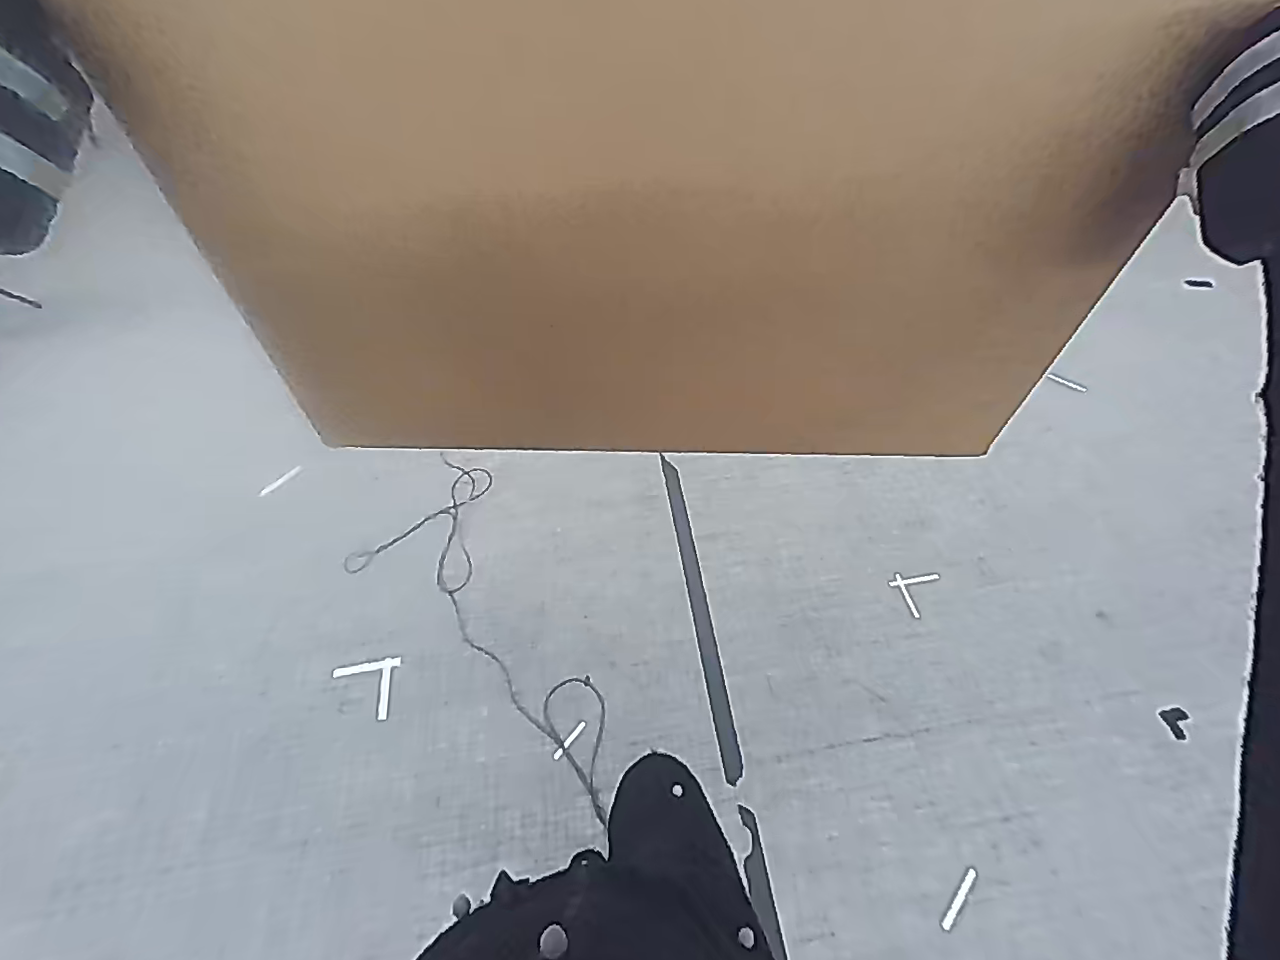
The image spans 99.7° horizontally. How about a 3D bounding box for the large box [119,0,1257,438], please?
[{"bbox_3d":[0.014,-0.237,0.326,0.408,0.320,0.320,1,50,-1],"label":"large box"}]
